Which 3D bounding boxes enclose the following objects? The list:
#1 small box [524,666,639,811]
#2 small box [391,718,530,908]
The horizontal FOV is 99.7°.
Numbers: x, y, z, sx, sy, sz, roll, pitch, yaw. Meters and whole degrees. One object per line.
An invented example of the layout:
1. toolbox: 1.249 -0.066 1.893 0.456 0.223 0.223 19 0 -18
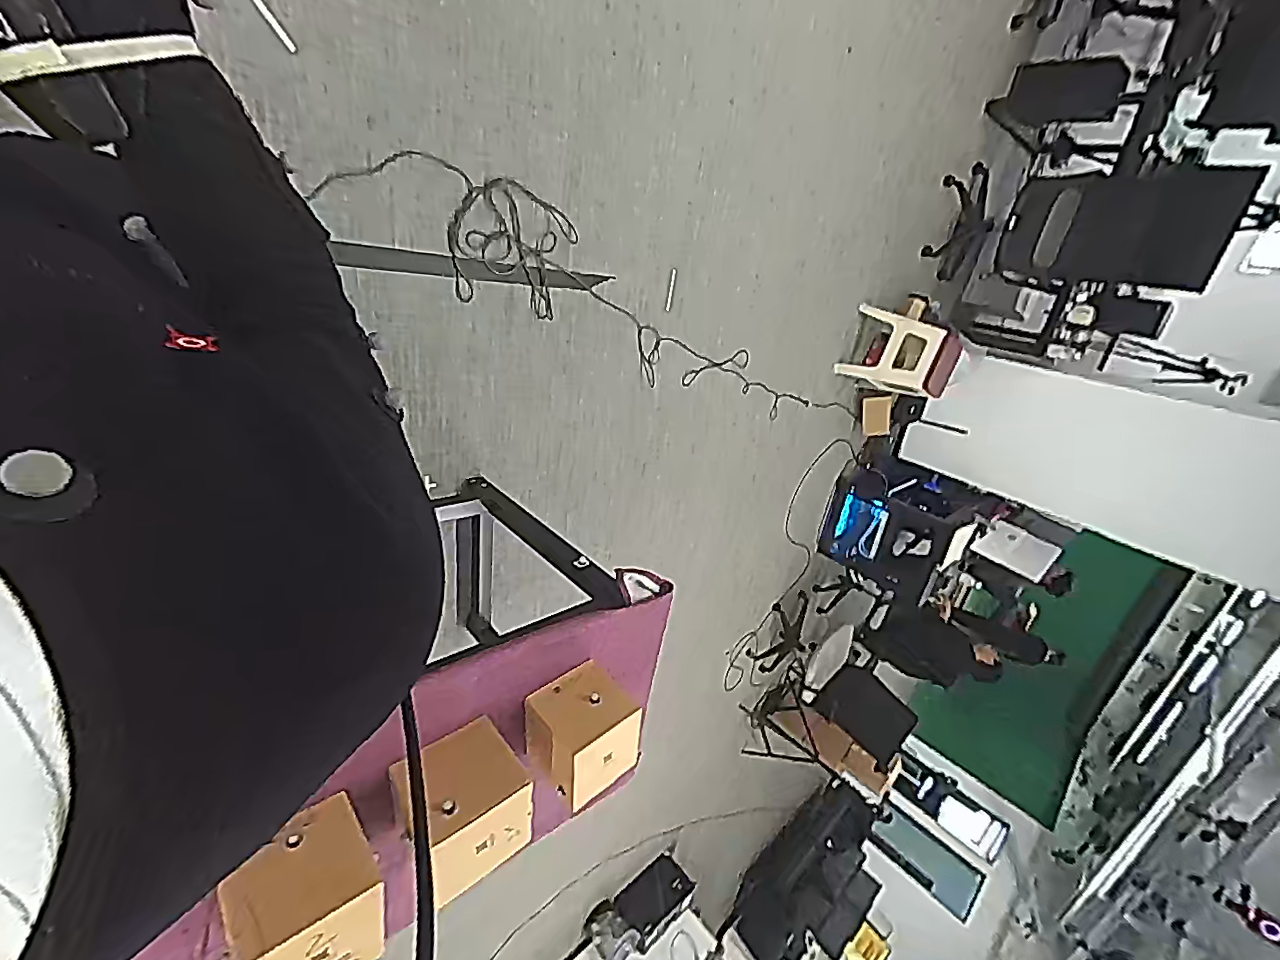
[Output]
1. small box: -0.122 0.504 1.089 0.168 0.176 0.179 -20 127 -38
2. small box: -0.306 0.550 0.916 0.179 0.176 0.168 -17 125 -40
